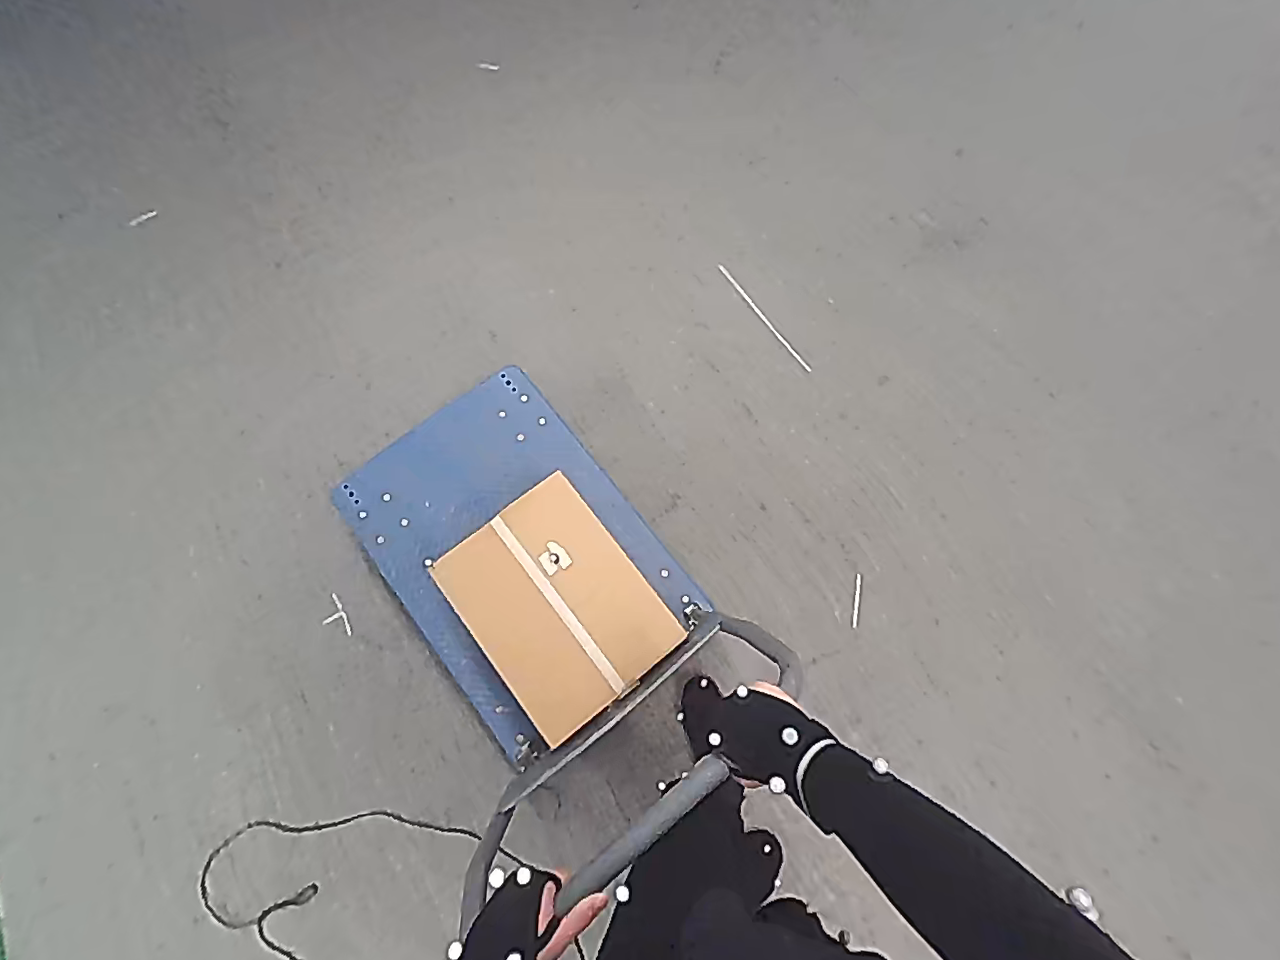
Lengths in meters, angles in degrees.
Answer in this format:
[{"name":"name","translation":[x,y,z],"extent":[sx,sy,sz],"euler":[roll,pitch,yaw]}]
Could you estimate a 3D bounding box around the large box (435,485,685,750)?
[{"name":"large box","translation":[-0.152,0.284,1.168],"extent":[0.320,0.320,0.408],"euler":[-38,79,-9]}]
